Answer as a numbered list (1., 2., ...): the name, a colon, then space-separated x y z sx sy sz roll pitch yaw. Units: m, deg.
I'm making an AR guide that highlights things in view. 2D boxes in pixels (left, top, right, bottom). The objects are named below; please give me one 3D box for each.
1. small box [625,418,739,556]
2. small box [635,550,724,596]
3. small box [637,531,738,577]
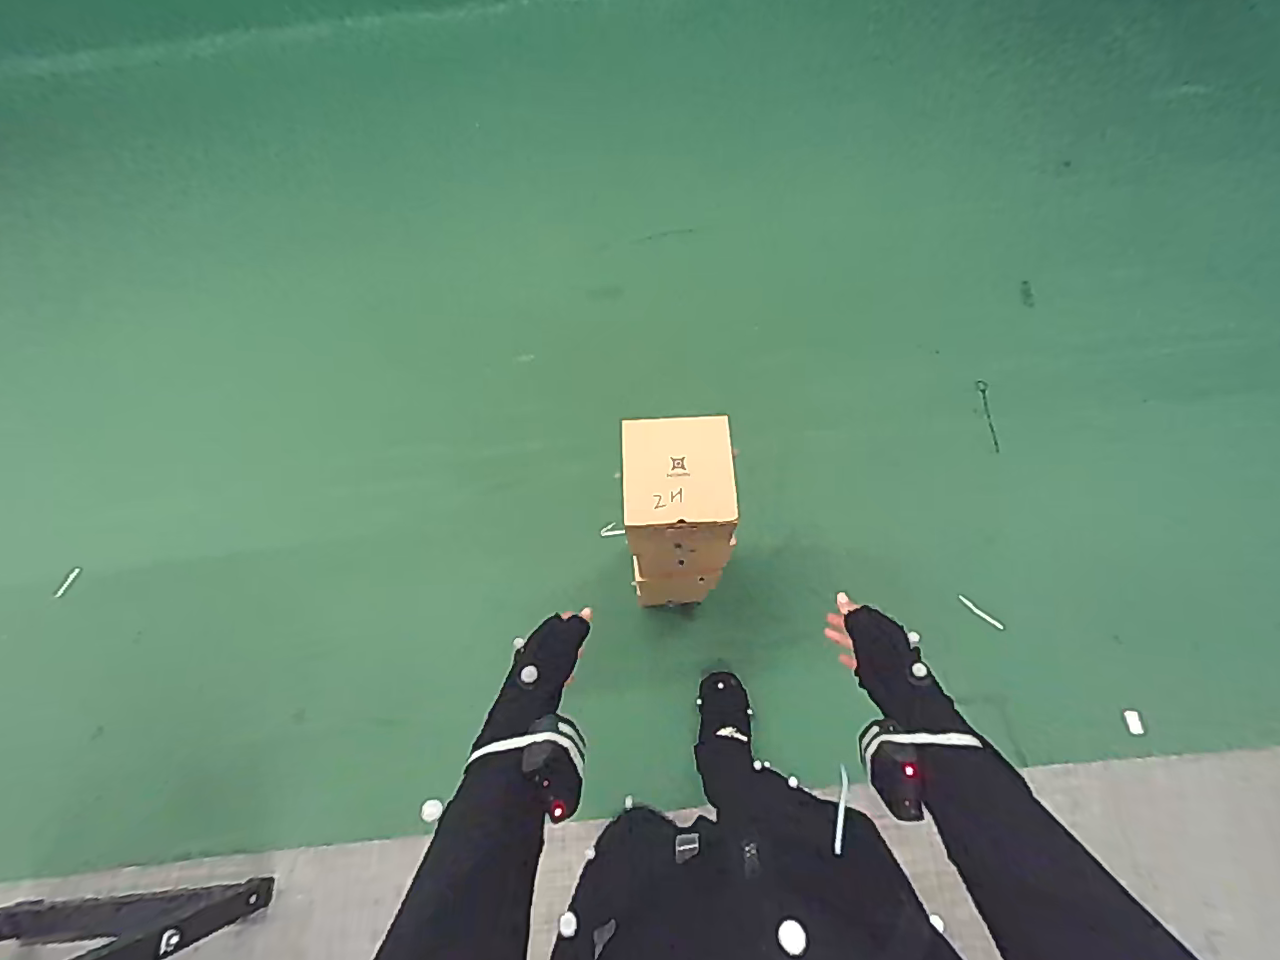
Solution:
1. small box: 0.062 0.017 0.880 0.168 0.176 0.179 -3 68 2
2. small box: 0.079 0.152 1.180 0.179 0.176 0.168 -6 68 0
3. small box: 0.077 0.080 1.031 0.179 0.176 0.168 -7 68 0
